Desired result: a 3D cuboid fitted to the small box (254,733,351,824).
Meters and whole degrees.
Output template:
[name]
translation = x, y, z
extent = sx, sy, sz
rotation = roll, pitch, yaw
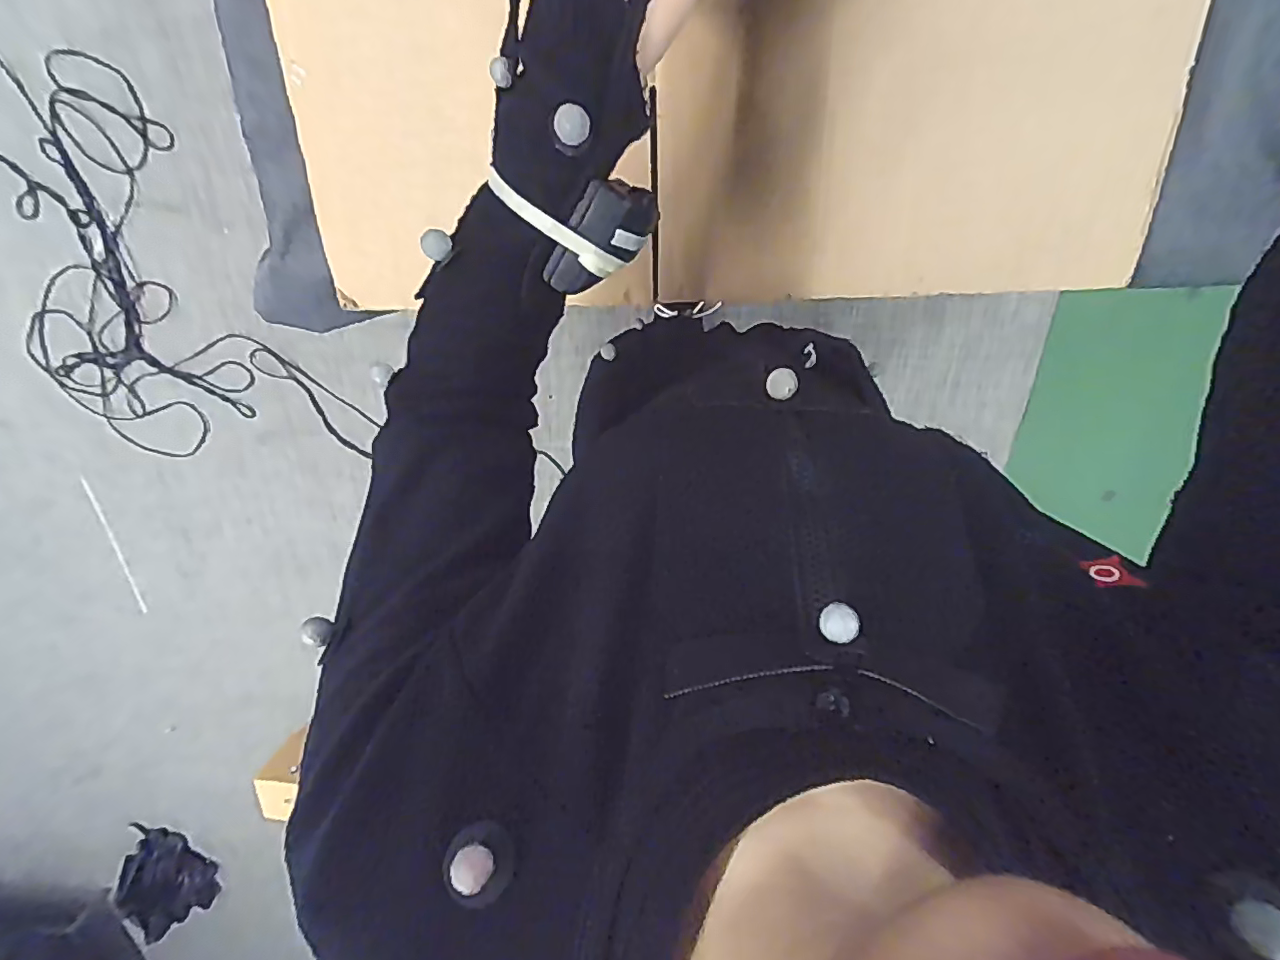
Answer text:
[small box]
translation = -1.007, 0.891, 1.625
extent = 0.179, 0.176, 0.168
rotation = 5, 113, 1
